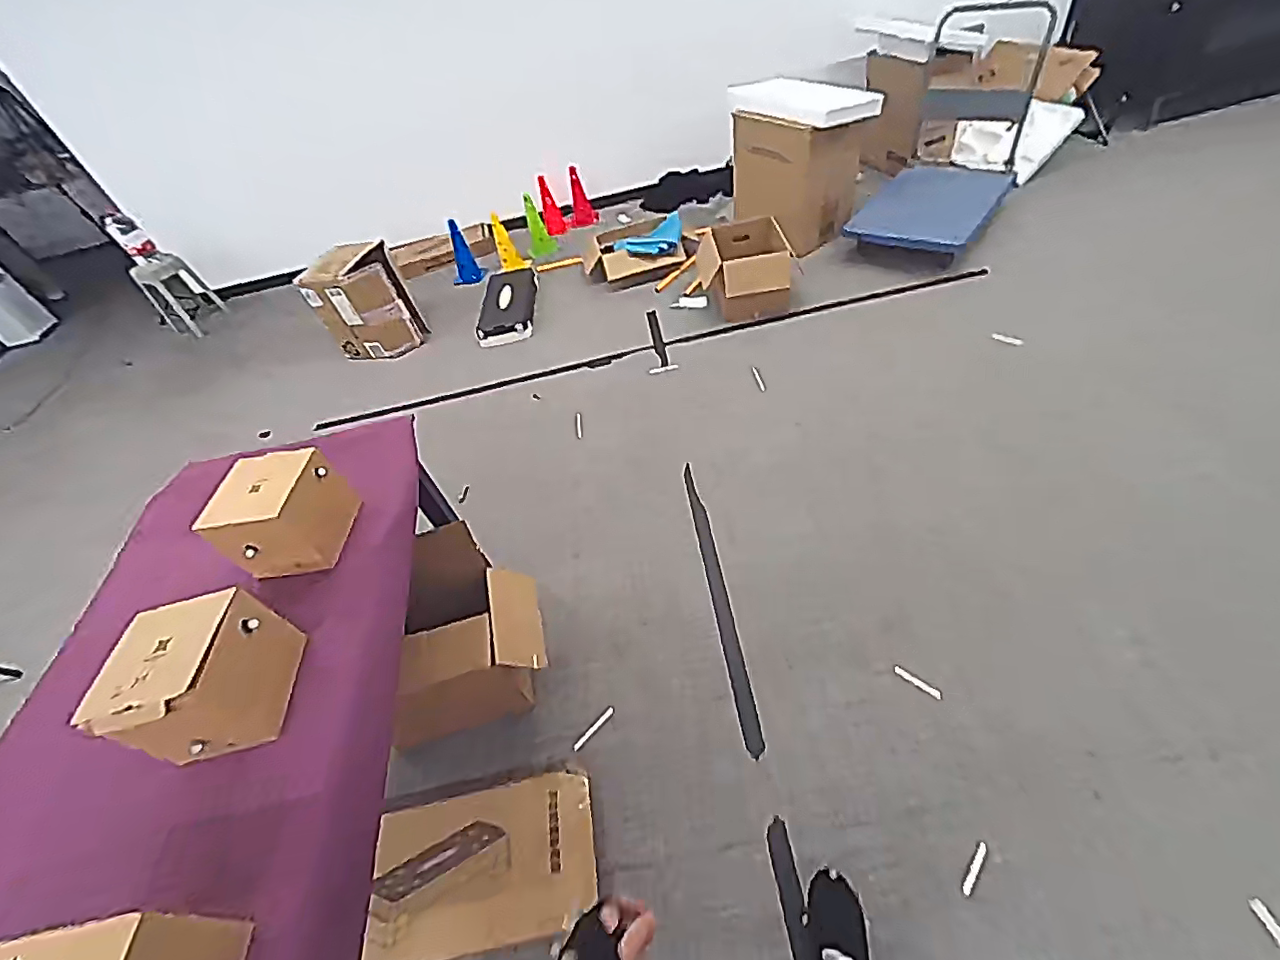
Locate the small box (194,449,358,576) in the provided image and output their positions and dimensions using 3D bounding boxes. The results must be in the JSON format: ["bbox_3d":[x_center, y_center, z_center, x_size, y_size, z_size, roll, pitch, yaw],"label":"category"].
[{"bbox_3d":[-0.677,0.070,1.035,0.168,0.176,0.179,-9,46,6],"label":"small box"}]

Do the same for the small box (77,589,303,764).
[{"bbox_3d":[-0.650,0.298,0.814,0.168,0.176,0.179,-16,46,3],"label":"small box"}]
